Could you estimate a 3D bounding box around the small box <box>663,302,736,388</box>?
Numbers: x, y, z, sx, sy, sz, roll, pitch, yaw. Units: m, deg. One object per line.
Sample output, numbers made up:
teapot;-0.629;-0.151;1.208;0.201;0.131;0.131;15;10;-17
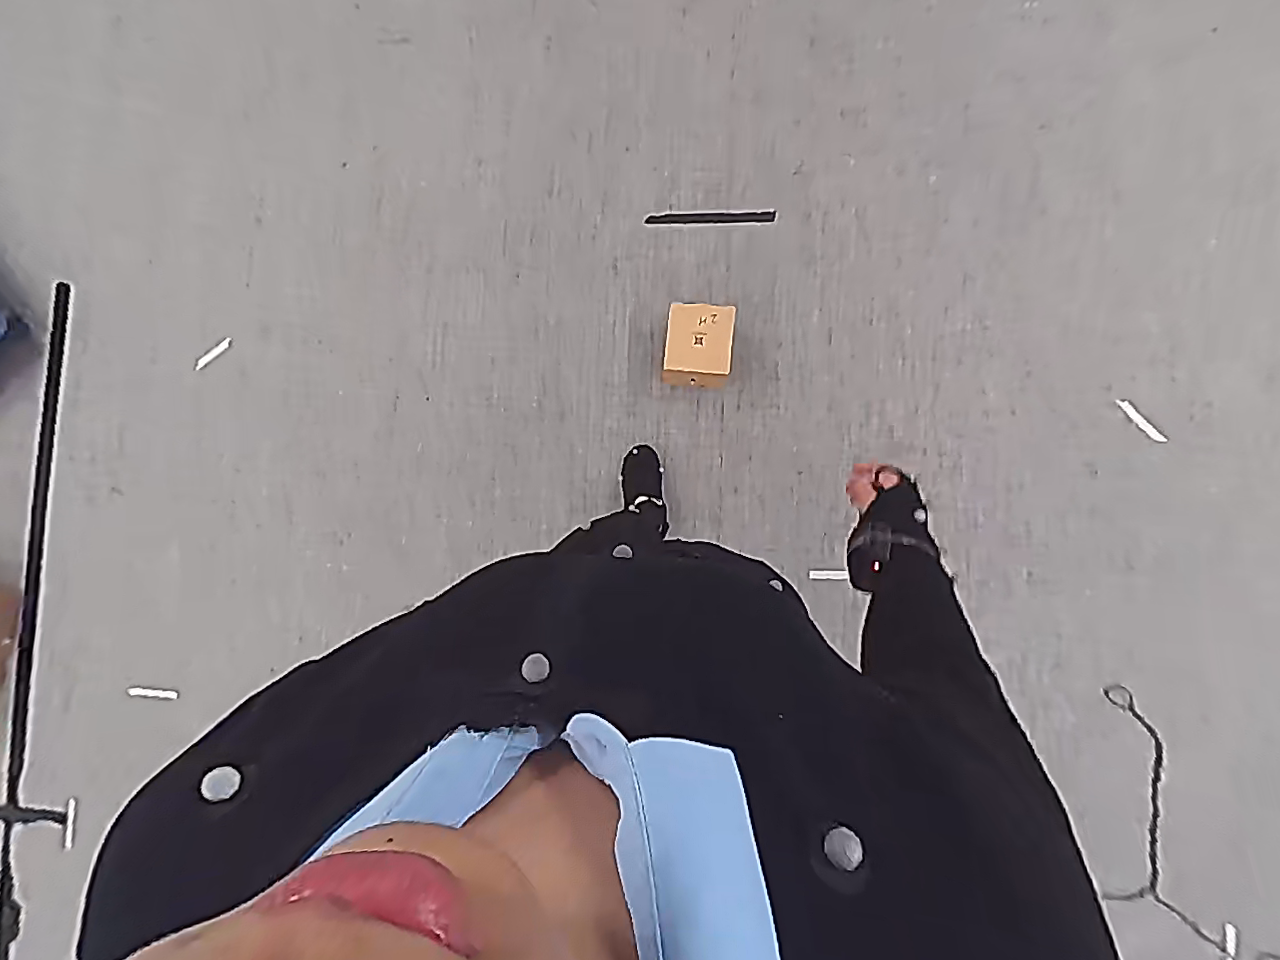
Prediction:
small box;0.155;-0.348;1.424;0.168;0.176;0.179;6;87;4
